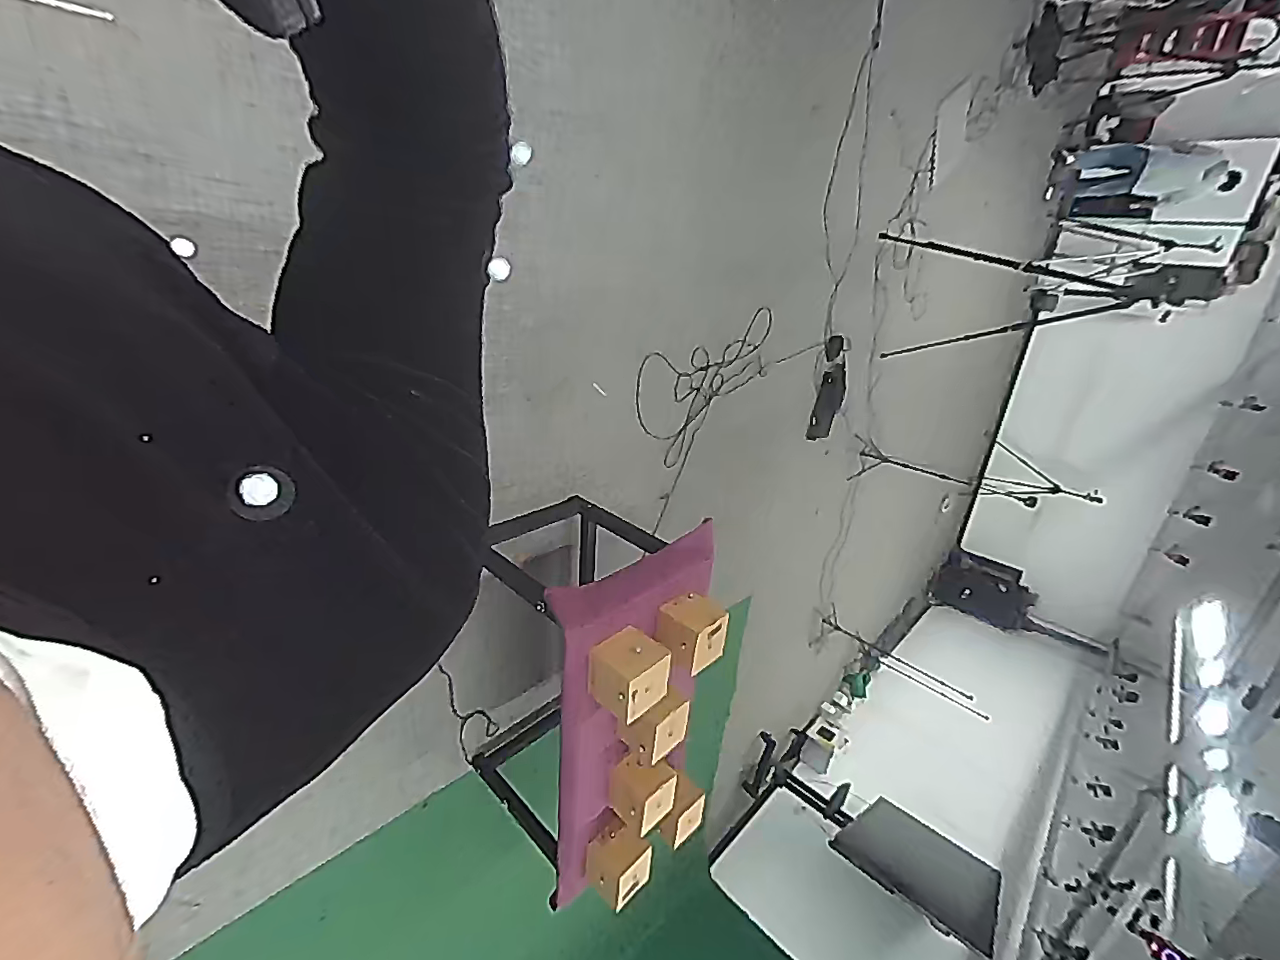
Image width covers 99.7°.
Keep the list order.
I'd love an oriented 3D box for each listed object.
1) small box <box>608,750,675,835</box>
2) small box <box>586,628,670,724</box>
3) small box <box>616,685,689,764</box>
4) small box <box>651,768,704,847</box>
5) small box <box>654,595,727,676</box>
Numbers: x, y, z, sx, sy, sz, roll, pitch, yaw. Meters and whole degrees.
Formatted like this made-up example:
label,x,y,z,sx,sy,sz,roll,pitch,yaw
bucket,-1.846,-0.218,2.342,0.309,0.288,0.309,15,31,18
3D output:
label,x,y,z,sx,sy,sz,roll,pitch,yaw
small box,0.002,1.092,1.914,0.168,0.176,0.179,-17,120,-44
small box,-0.036,0.568,1.594,0.179,0.176,0.168,-21,124,-44
small box,0.037,0.787,1.793,0.168,0.176,0.179,-17,121,-44
small box,0.132,1.306,2.168,0.168,0.176,0.179,-15,118,-43
small box,0.164,0.505,1.795,0.168,0.176,0.179,-17,122,-43
